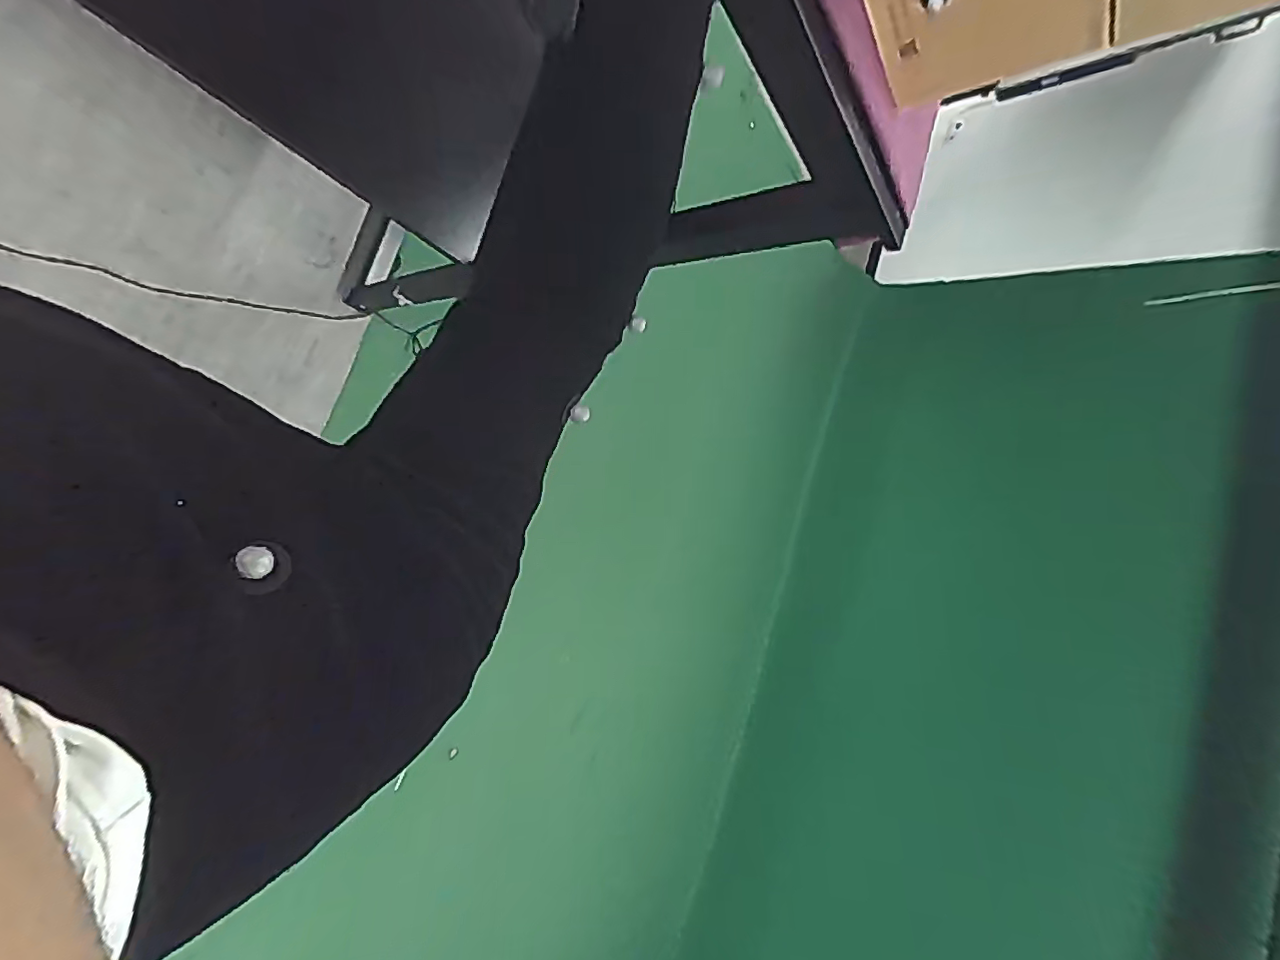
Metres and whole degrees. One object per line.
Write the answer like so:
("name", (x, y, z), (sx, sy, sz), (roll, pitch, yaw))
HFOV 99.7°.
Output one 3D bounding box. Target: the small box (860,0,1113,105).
("small box", (0.291, -0.462, 0.442), (0.168, 0.176, 0.179), (27, 78, -47))
